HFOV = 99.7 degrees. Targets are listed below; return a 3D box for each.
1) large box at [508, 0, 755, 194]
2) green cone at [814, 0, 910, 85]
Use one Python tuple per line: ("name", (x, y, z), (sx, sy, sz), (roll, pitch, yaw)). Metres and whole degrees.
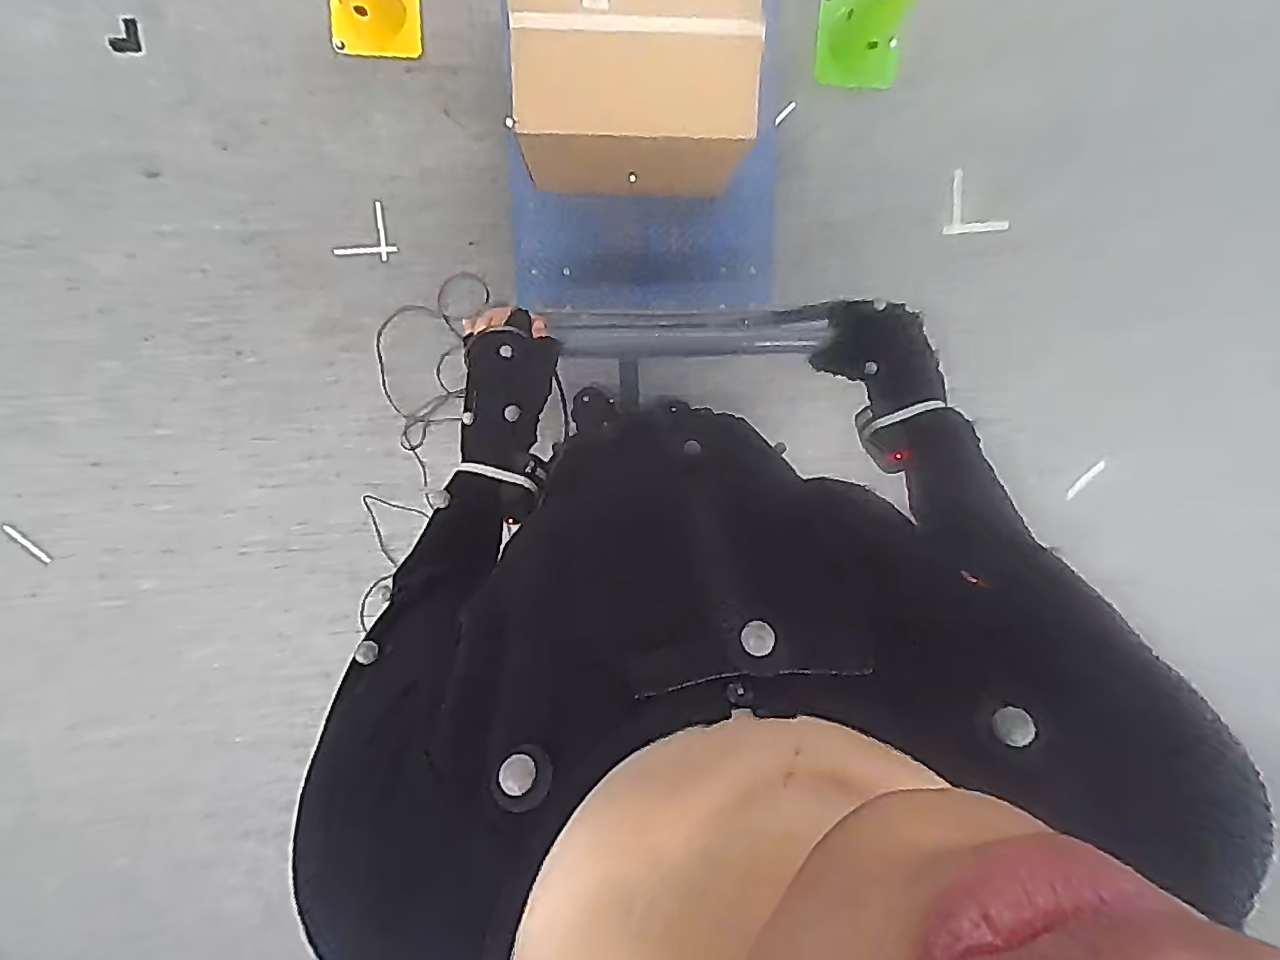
("large box", (-0.016, -0.745, 1.014), (0.408, 0.320, 0.320), (-1, 101, -3))
("green cone", (0.535, -1.038, 1.137), (0.202, 0.368, 0.200), (1, 101, -5))
